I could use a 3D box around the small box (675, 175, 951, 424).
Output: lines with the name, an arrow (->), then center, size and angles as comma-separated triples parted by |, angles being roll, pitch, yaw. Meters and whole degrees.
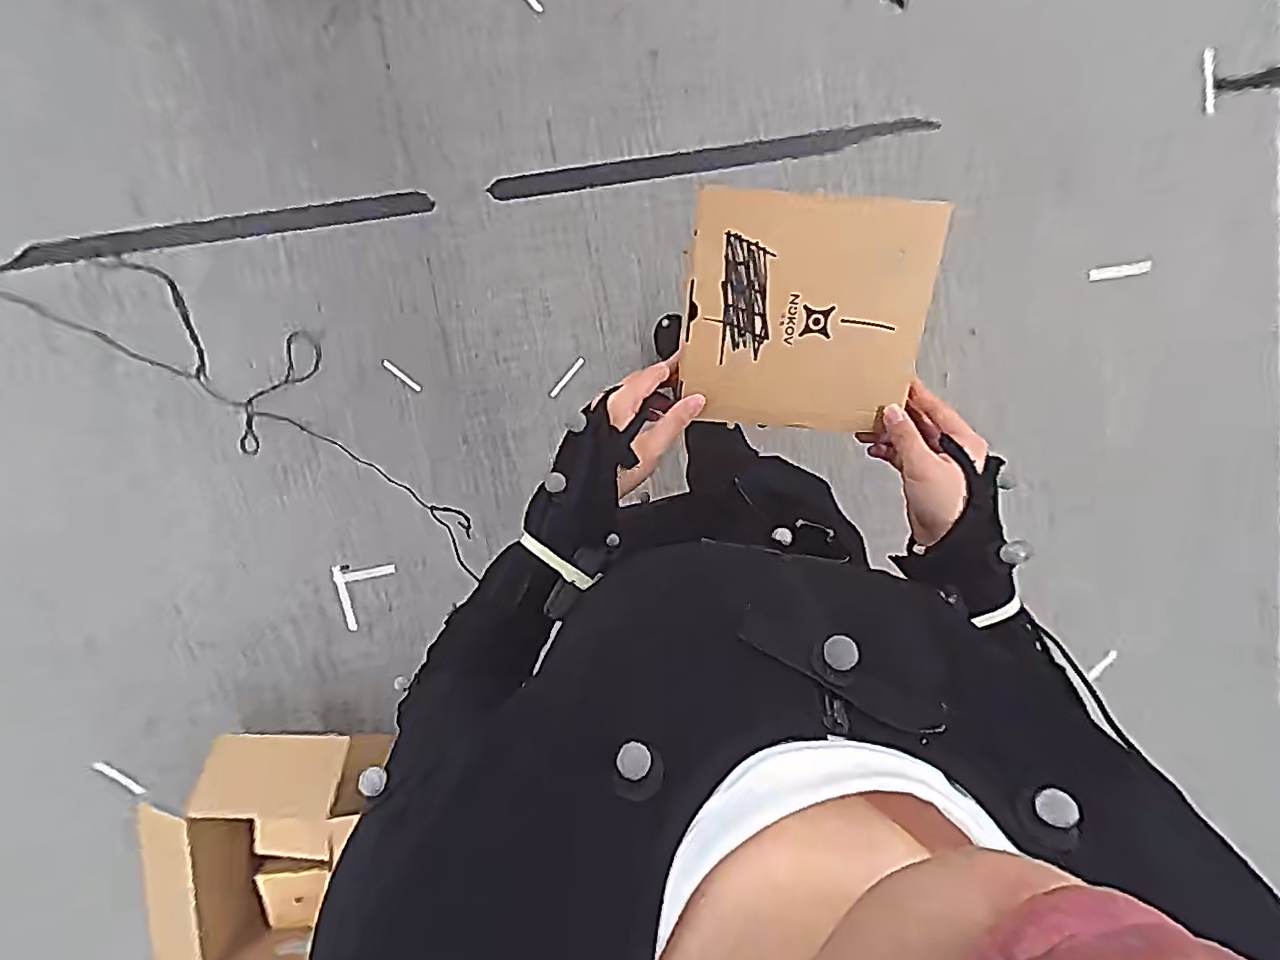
small box -> 0.126, -0.154, 0.470 | 0.179, 0.176, 0.168 | 5, 111, 3
